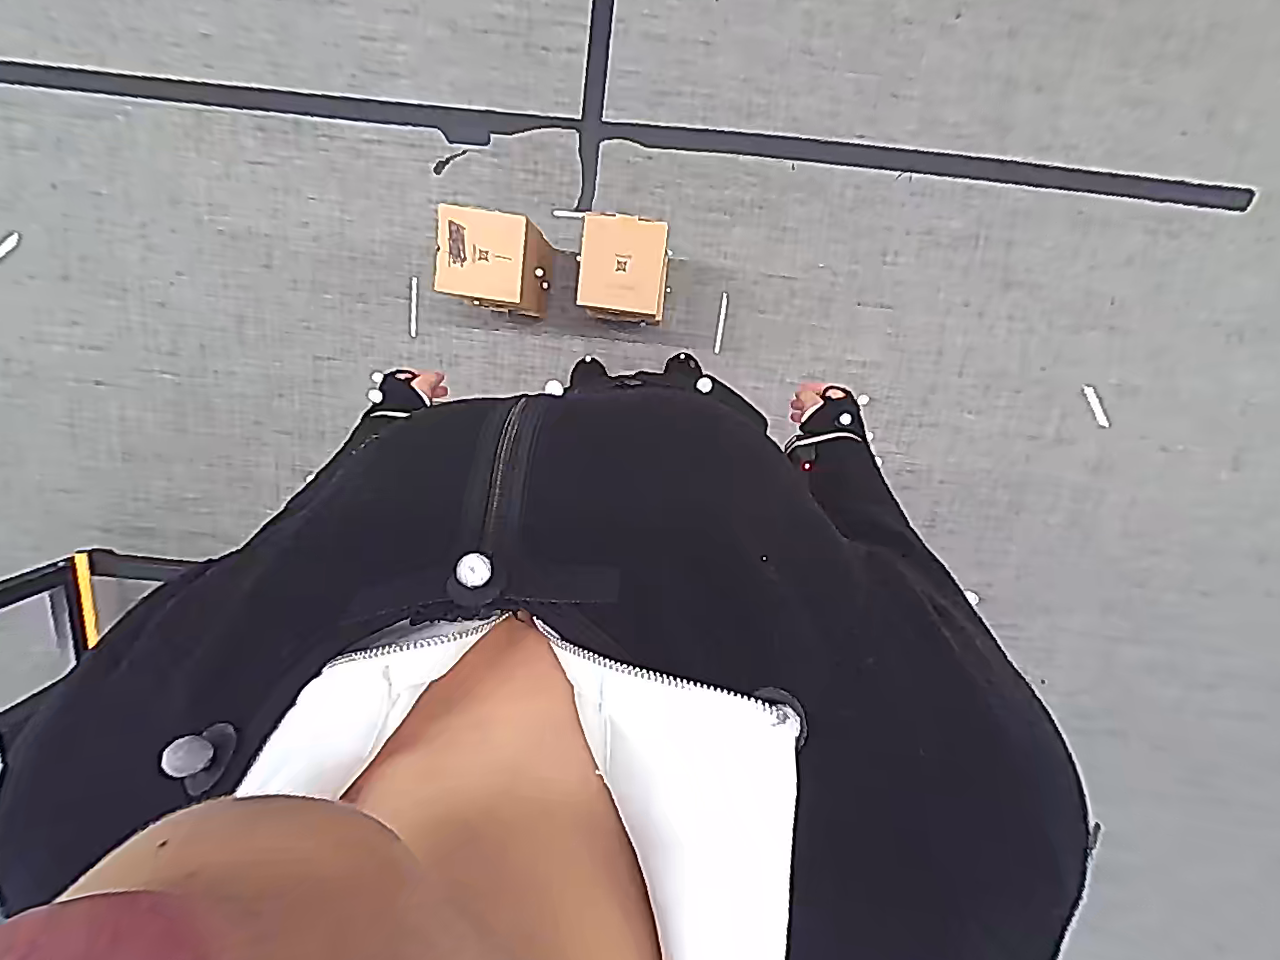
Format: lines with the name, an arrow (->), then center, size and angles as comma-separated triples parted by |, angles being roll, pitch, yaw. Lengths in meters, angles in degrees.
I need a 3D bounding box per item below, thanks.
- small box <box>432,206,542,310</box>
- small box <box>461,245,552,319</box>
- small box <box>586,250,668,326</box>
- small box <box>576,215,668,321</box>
small box -> -0.316, -0.457, 1.139 | 0.179, 0.176, 0.168 | 8, 104, -1
small box -> -0.315, -0.489, 1.301 | 0.168, 0.176, 0.179 | 9, 104, 0
small box -> -0.030, -0.465, 1.302 | 0.179, 0.176, 0.168 | 5, 104, 0
small box -> -0.036, -0.438, 1.141 | 0.168, 0.176, 0.179 | 8, 105, 0
